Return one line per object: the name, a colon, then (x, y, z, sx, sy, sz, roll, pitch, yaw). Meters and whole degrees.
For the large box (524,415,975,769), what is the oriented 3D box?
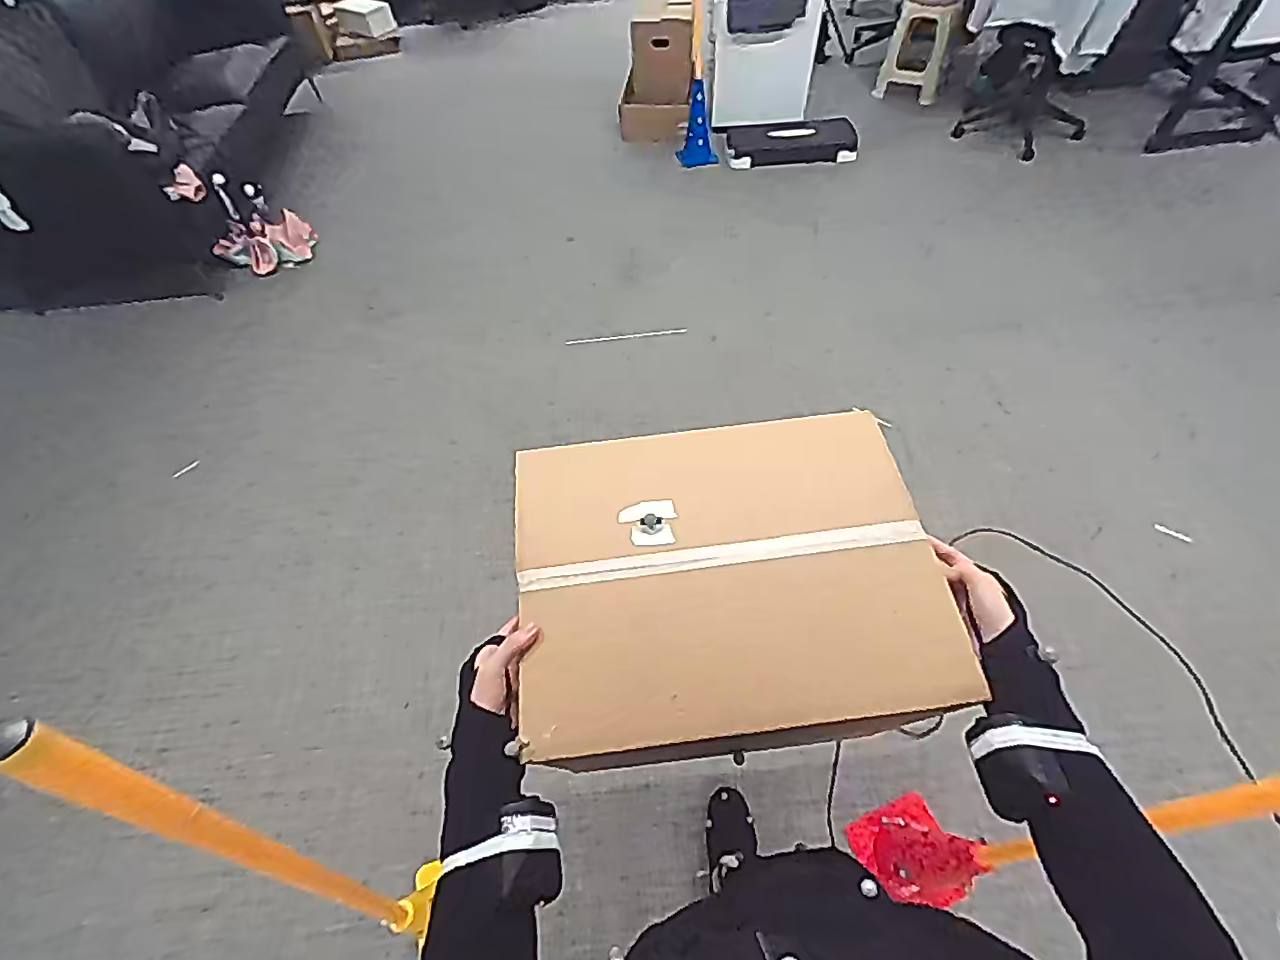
large box: (0.094, 0.157, 0.677, 0.408, 0.320, 0.320, -8, 59, -1)
